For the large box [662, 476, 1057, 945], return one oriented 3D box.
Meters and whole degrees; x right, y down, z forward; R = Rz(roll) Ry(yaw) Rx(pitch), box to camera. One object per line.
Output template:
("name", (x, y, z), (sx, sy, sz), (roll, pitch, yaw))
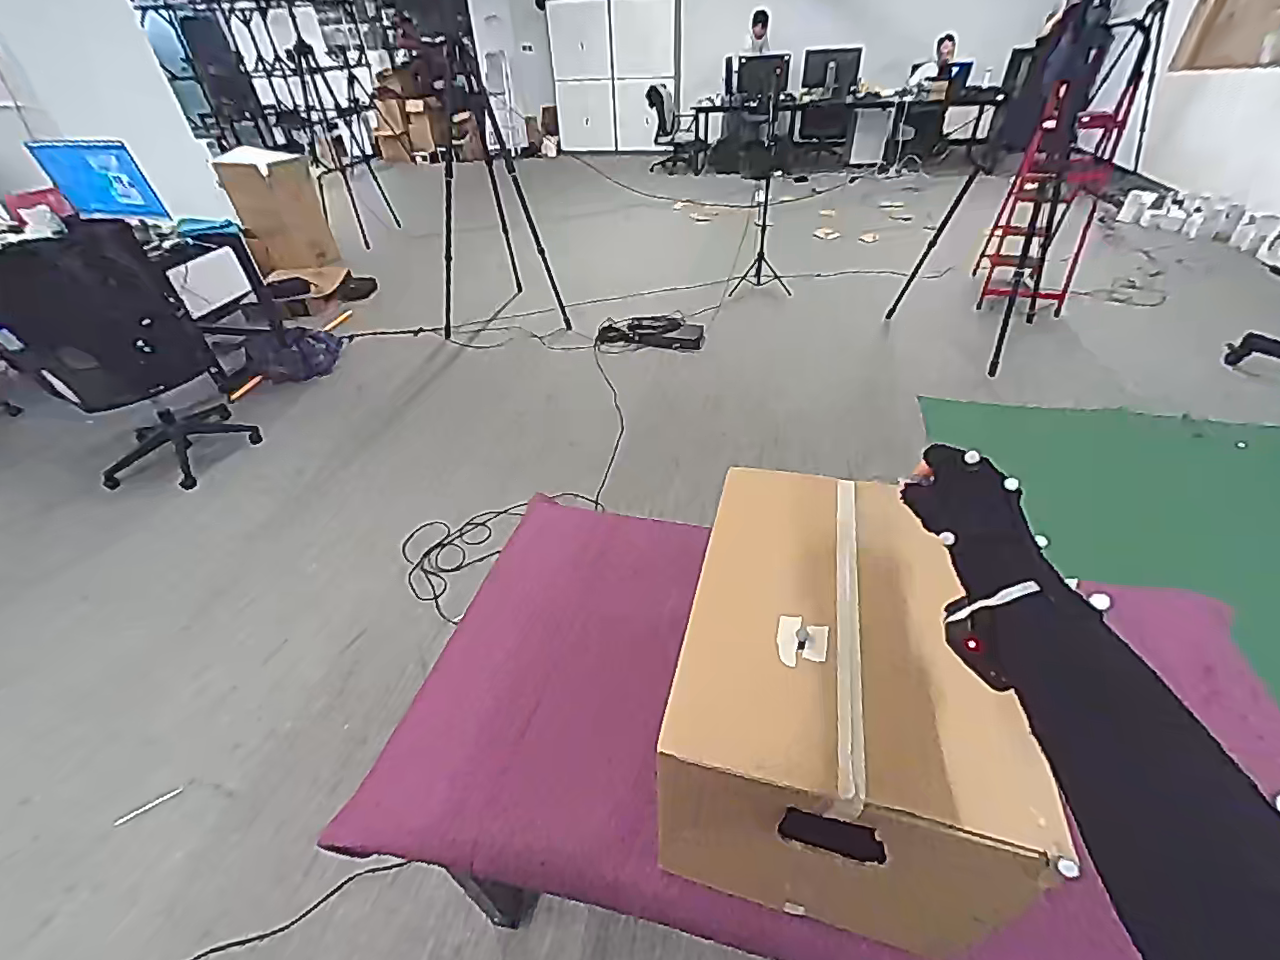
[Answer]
("large box", (0.220, 0.253, 0.676), (0.320, 0.320, 0.408), (9, 41, 14))
